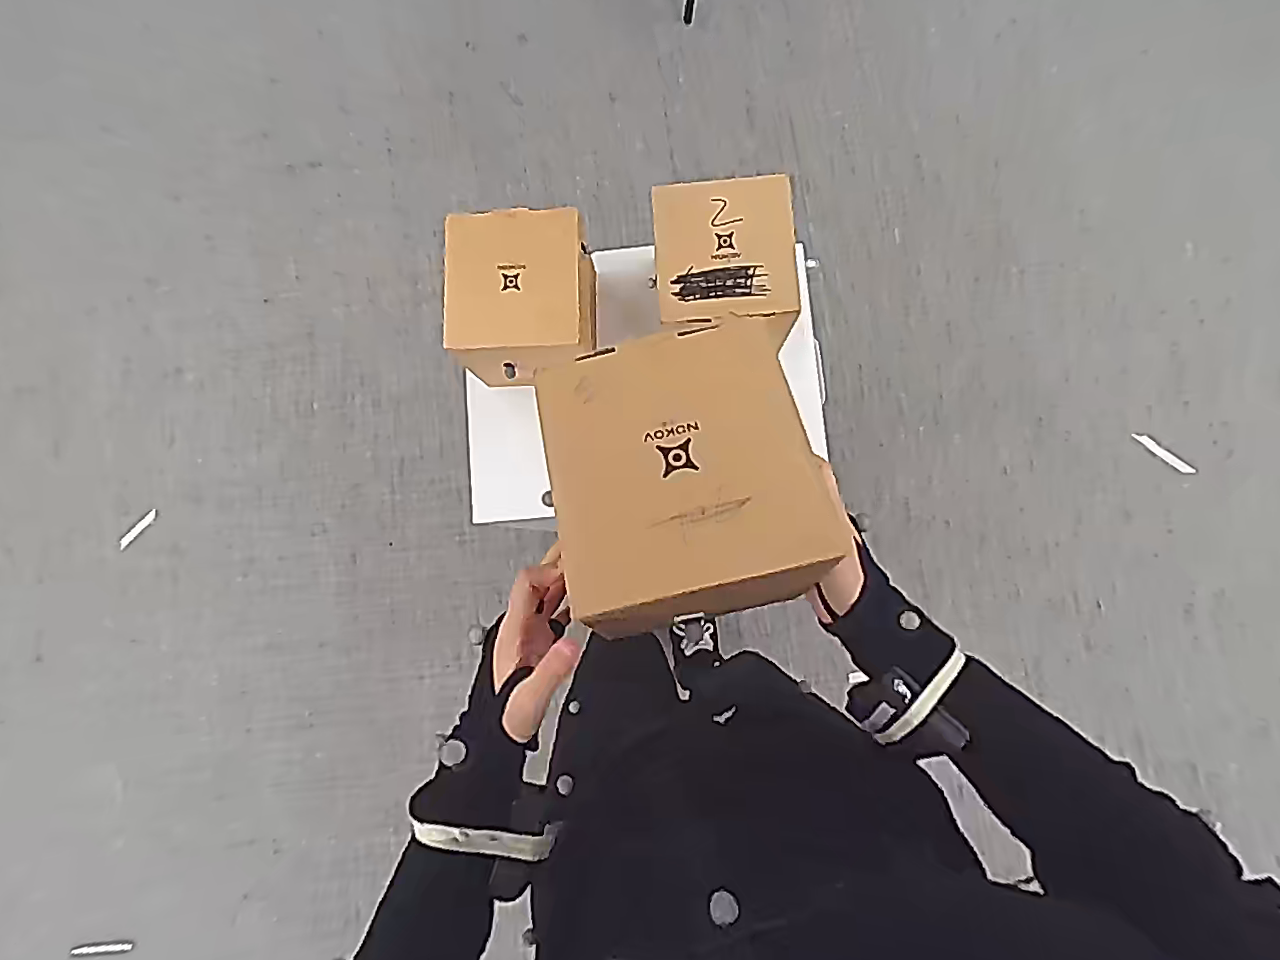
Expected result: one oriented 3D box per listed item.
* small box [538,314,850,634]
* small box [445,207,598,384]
[{"bbox_3d":[0.032,0.009,0.415,0.168,0.176,0.179,-14,69,2],"label":"small box"},{"bbox_3d":[-0.148,-0.232,0.725,0.168,0.176,0.179,-2,83,3],"label":"small box"}]
